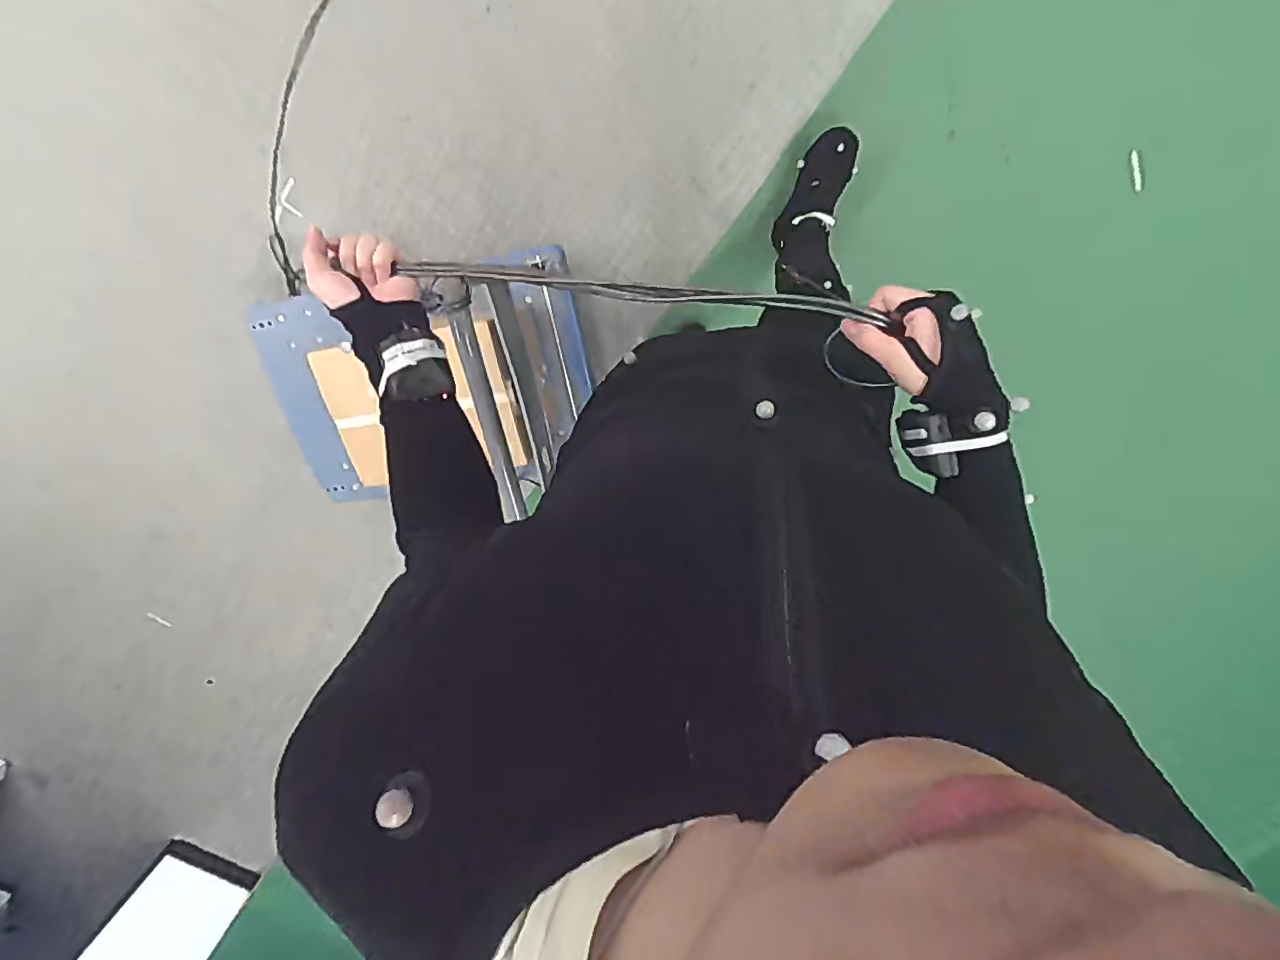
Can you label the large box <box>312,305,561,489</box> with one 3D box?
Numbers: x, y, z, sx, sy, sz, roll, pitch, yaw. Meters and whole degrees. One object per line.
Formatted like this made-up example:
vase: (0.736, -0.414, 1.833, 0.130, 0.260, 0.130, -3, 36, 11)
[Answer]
large box: (-0.444, -0.204, 1.275, 0.408, 0.320, 0.320, -7, 112, 10)
